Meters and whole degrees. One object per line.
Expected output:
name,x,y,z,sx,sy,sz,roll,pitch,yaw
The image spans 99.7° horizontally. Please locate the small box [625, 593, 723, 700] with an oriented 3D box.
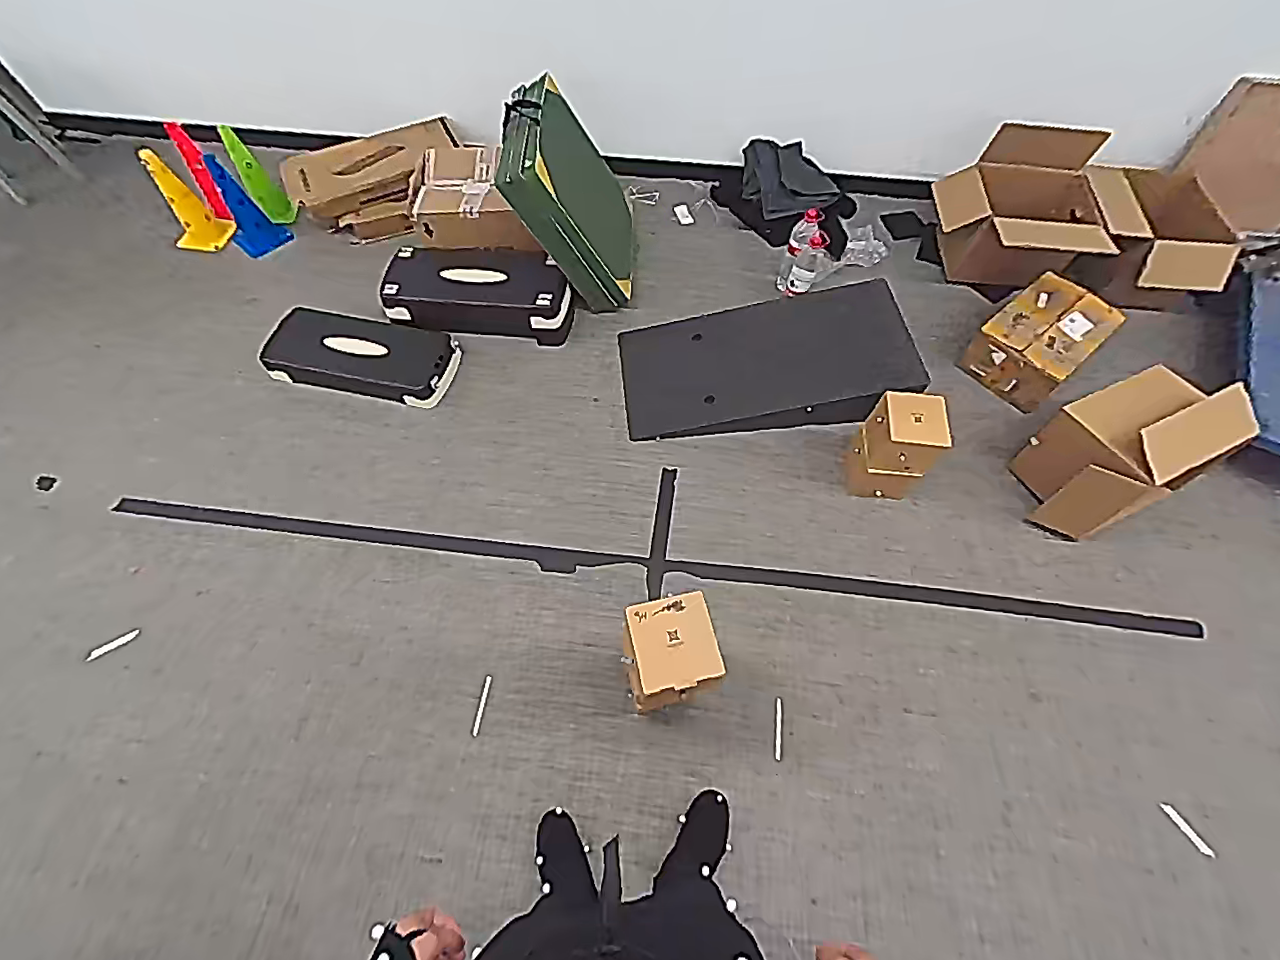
small box,0.066,0.359,1.147,0.168,0.176,0.179,-11,63,-7
